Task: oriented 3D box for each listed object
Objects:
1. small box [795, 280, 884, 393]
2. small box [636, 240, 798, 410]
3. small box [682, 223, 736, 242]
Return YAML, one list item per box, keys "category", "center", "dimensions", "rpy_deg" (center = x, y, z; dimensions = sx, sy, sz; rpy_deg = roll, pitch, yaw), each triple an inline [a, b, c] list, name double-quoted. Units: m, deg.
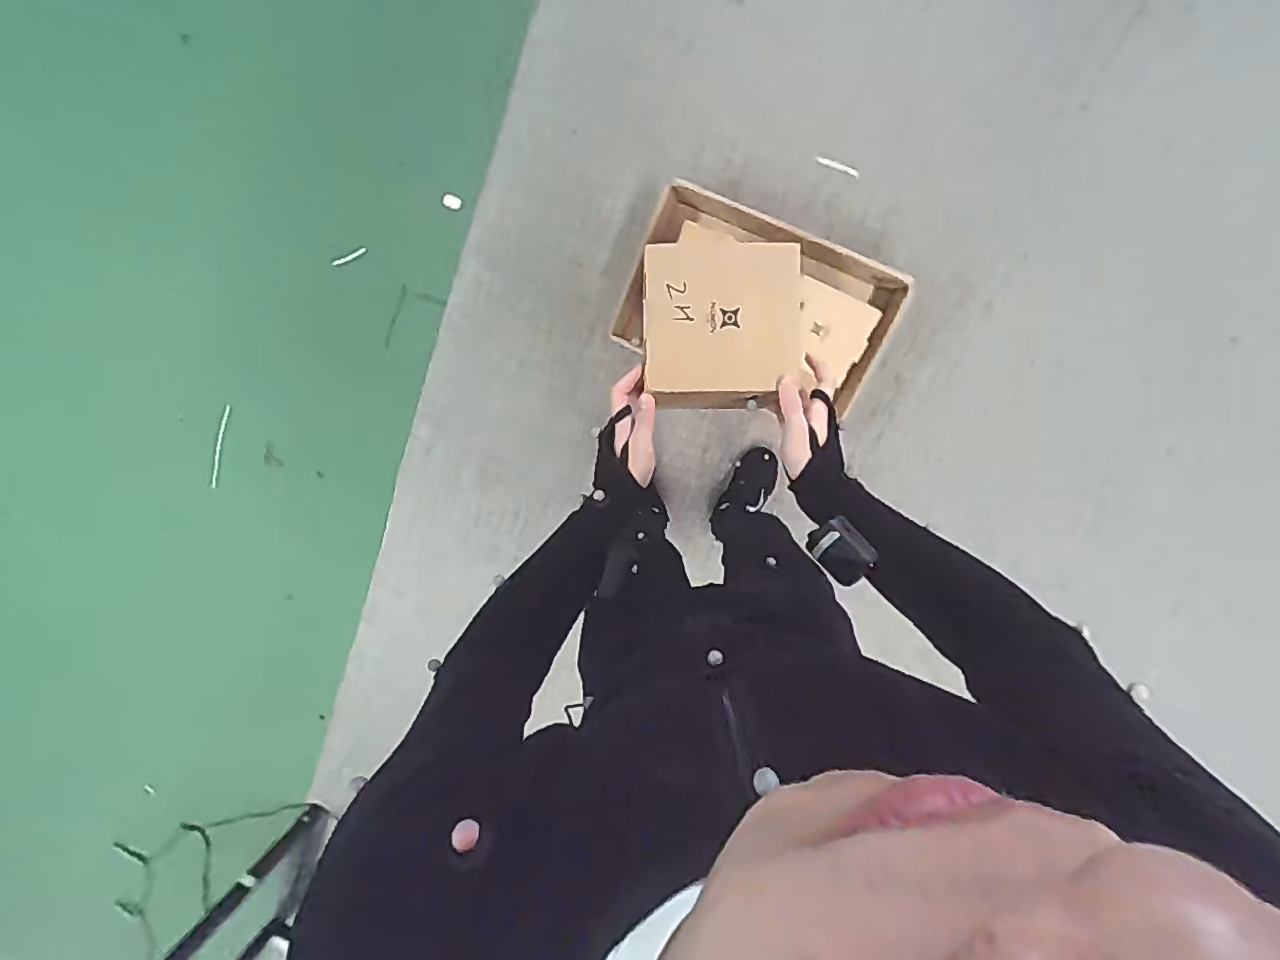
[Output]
- category: "small box"
  center: [0.378, -0.302, 1.148]
  dimensions: [0.179, 0.176, 0.168]
  rpy_deg: [28, 106, 4]
- category: "small box"
  center: [0.084, -0.180, 0.668]
  dimensions: [0.179, 0.176, 0.168]
  rpy_deg: [0, 91, 0]
- category: "small box"
  center: [0.153, -0.421, 1.172]
  dimensions: [0.168, 0.176, 0.179]
  rpy_deg: [23, 104, 4]
